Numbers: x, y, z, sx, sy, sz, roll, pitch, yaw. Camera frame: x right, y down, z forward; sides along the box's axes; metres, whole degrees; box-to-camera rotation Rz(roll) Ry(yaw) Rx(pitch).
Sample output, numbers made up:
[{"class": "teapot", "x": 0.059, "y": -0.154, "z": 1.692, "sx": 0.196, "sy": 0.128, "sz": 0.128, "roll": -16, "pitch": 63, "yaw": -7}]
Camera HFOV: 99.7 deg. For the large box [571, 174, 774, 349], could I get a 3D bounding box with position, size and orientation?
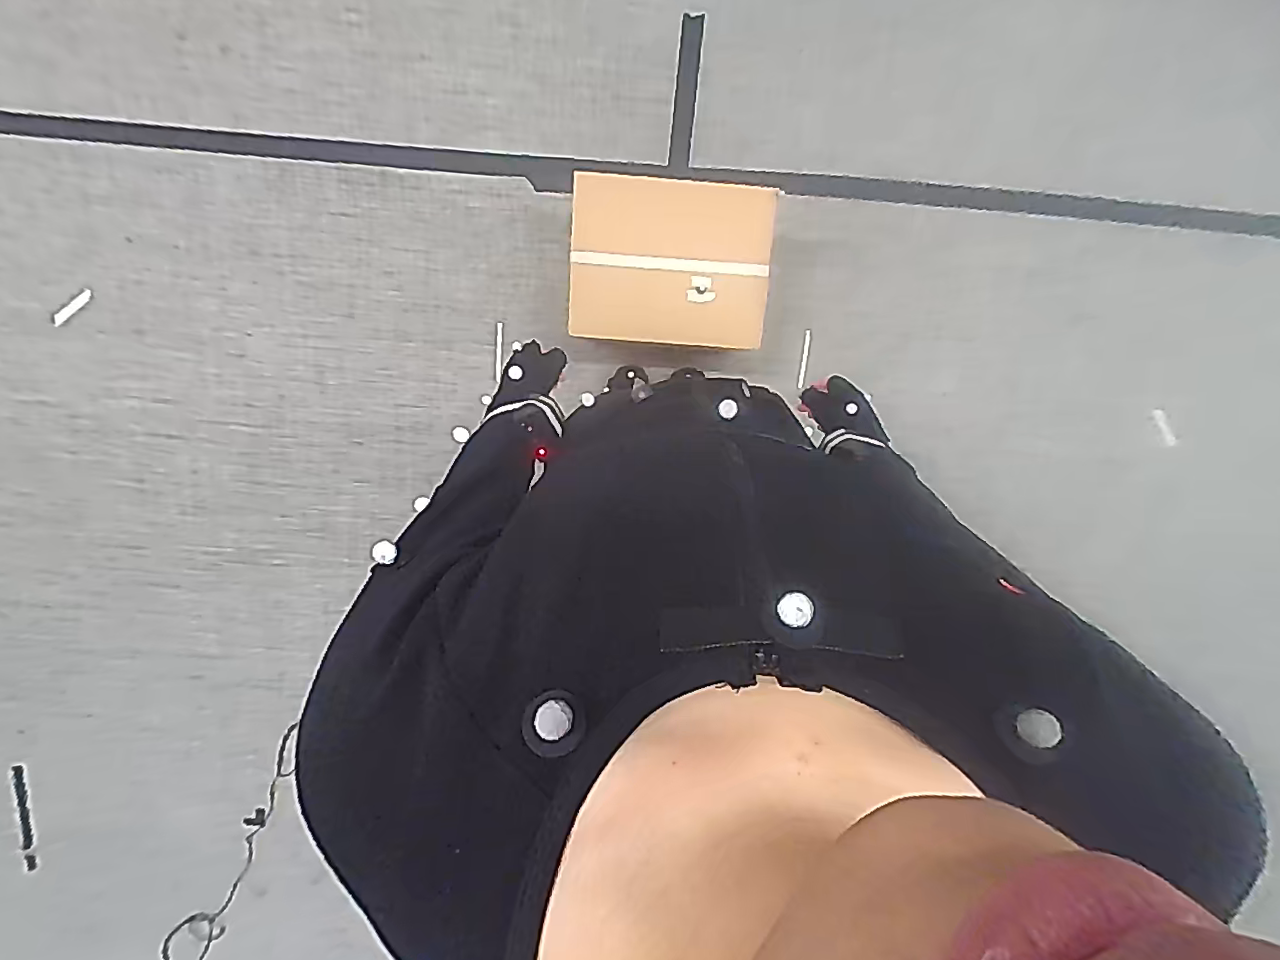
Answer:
[{"class": "large box", "x": 0.055, "y": -0.470, "z": 1.239, "sx": 0.408, "sy": 0.320, "sz": 0.320, "roll": 3, "pitch": 103, "yaw": -3}]
